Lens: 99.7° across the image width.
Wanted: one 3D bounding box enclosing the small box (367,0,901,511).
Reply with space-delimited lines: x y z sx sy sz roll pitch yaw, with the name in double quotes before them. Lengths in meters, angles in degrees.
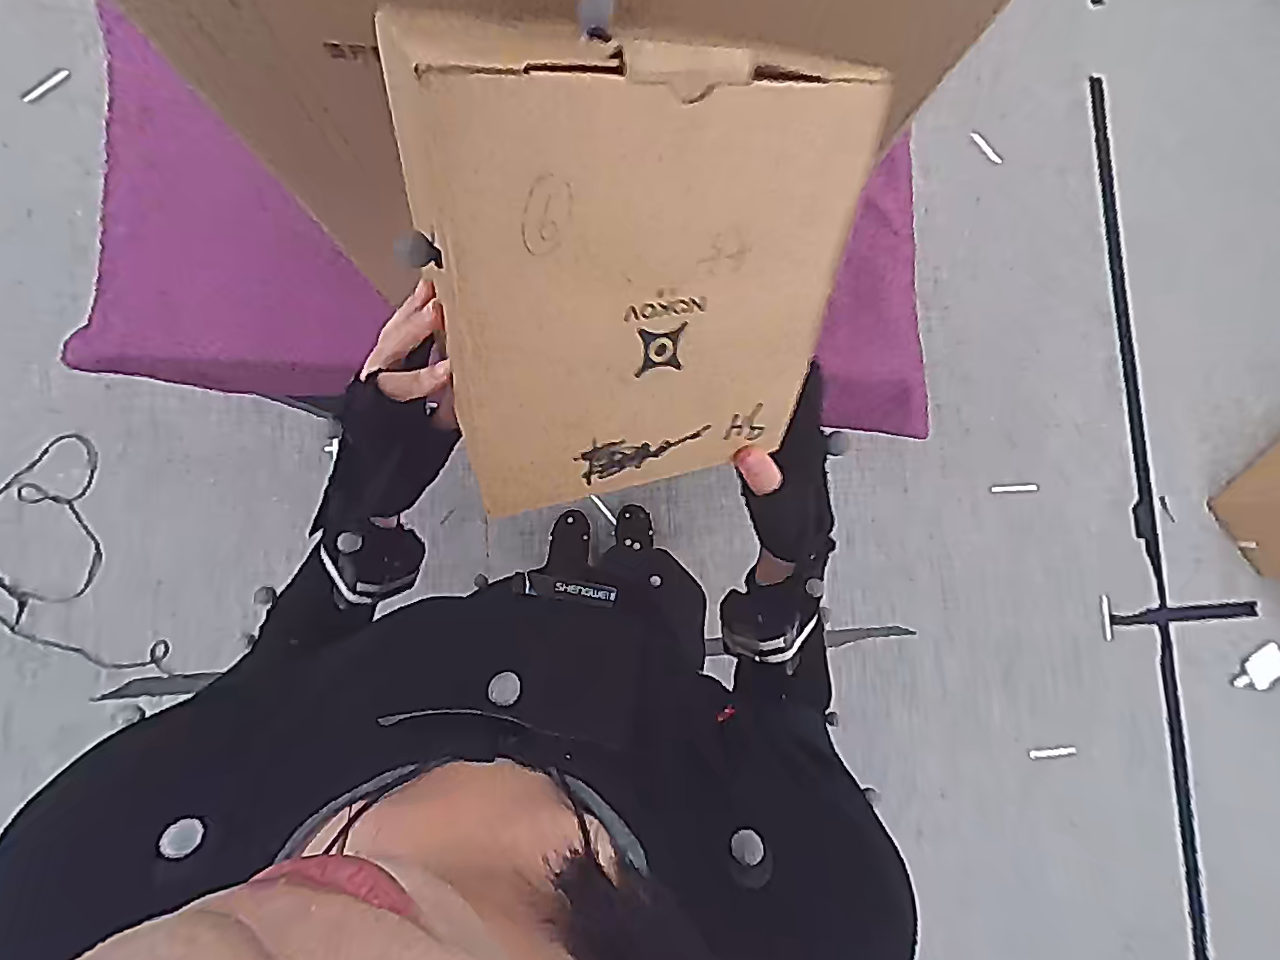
"small box" -0.022 -0.118 0.265 0.168 0.179 0.176 -14 47 -19
